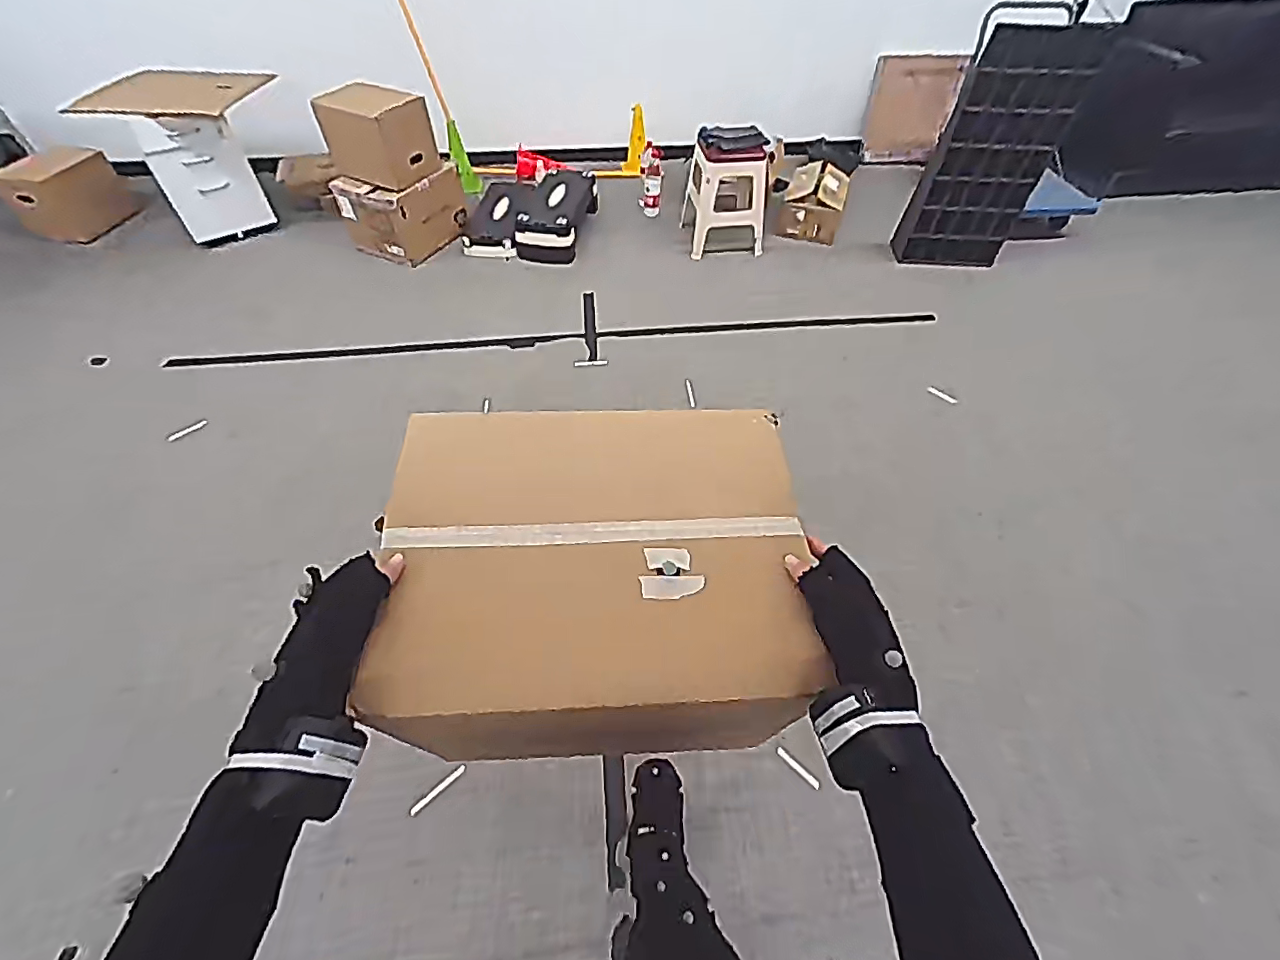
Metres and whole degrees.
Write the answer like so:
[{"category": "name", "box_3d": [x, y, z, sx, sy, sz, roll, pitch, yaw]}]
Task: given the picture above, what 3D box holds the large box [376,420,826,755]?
[{"category": "large box", "box_3d": [-0.046, 0.142, 0.674, 0.408, 0.320, 0.320, -1, 58, -4]}]
